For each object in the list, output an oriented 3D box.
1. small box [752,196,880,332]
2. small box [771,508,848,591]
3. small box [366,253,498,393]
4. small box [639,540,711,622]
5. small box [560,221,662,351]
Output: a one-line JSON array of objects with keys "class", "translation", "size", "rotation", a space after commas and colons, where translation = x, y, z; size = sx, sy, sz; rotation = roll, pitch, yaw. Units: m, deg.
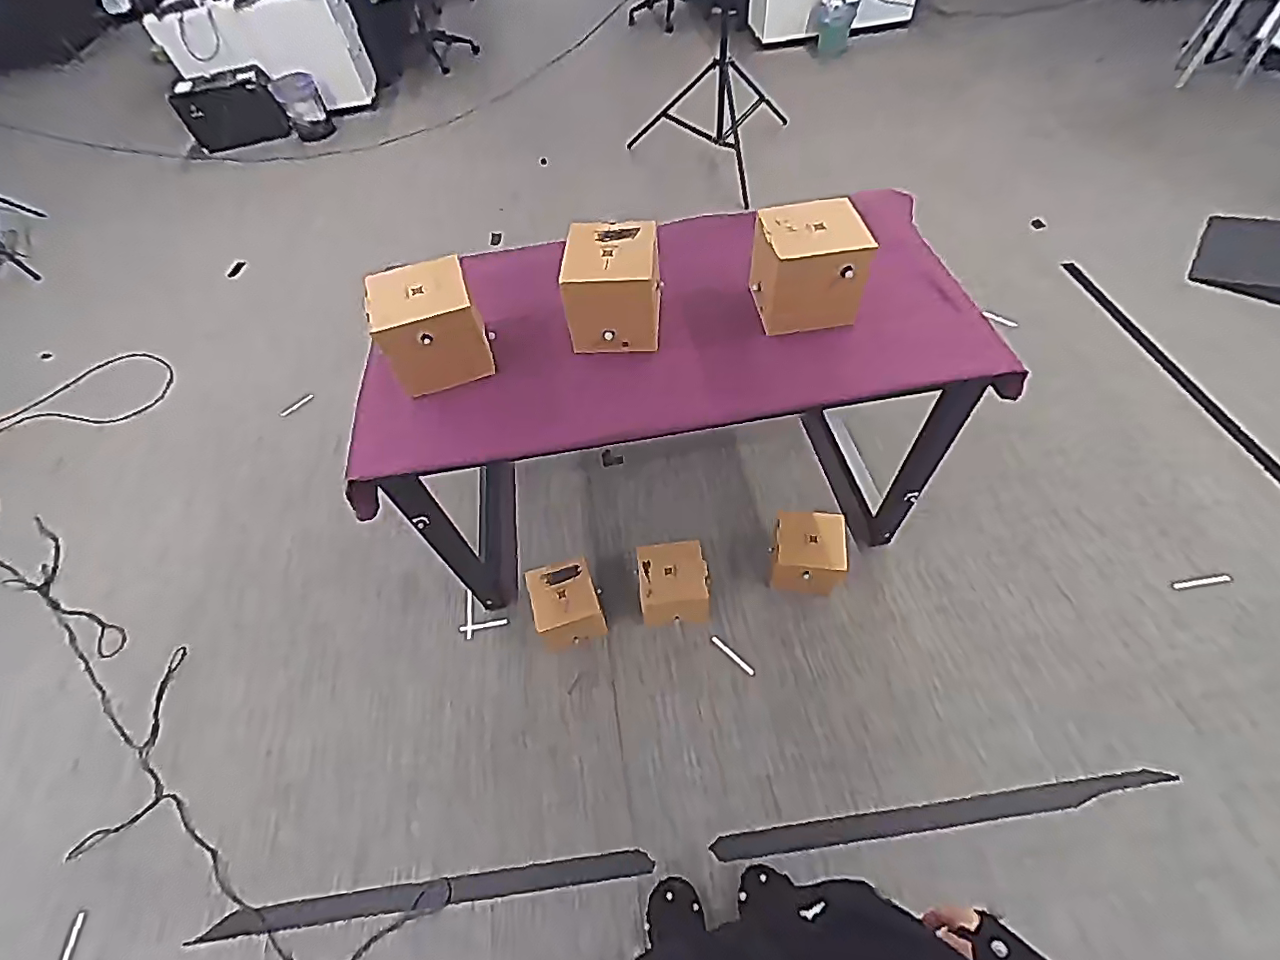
[{"class": "small box", "translation": [0.322, -0.405, 1.026], "size": [0.179, 0.176, 0.168], "rotation": [-8, 55, 1]}, {"class": "small box", "translation": [0.464, 0.196, 1.494], "size": [0.179, 0.176, 0.168], "rotation": [4, 58, 10]}, {"class": "small box", "translation": [-0.388, -0.290, 1.023], "size": [0.179, 0.176, 0.168], "rotation": [-18, 58, -8]}, {"class": "small box", "translation": [0.093, 0.278, 1.475], "size": [0.179, 0.176, 0.168], "rotation": [-6, 56, 2]}, {"class": "small box", "translation": [-0.046, -0.370, 1.041], "size": [0.168, 0.176, 0.179], "rotation": [0, 57, 6]}]
